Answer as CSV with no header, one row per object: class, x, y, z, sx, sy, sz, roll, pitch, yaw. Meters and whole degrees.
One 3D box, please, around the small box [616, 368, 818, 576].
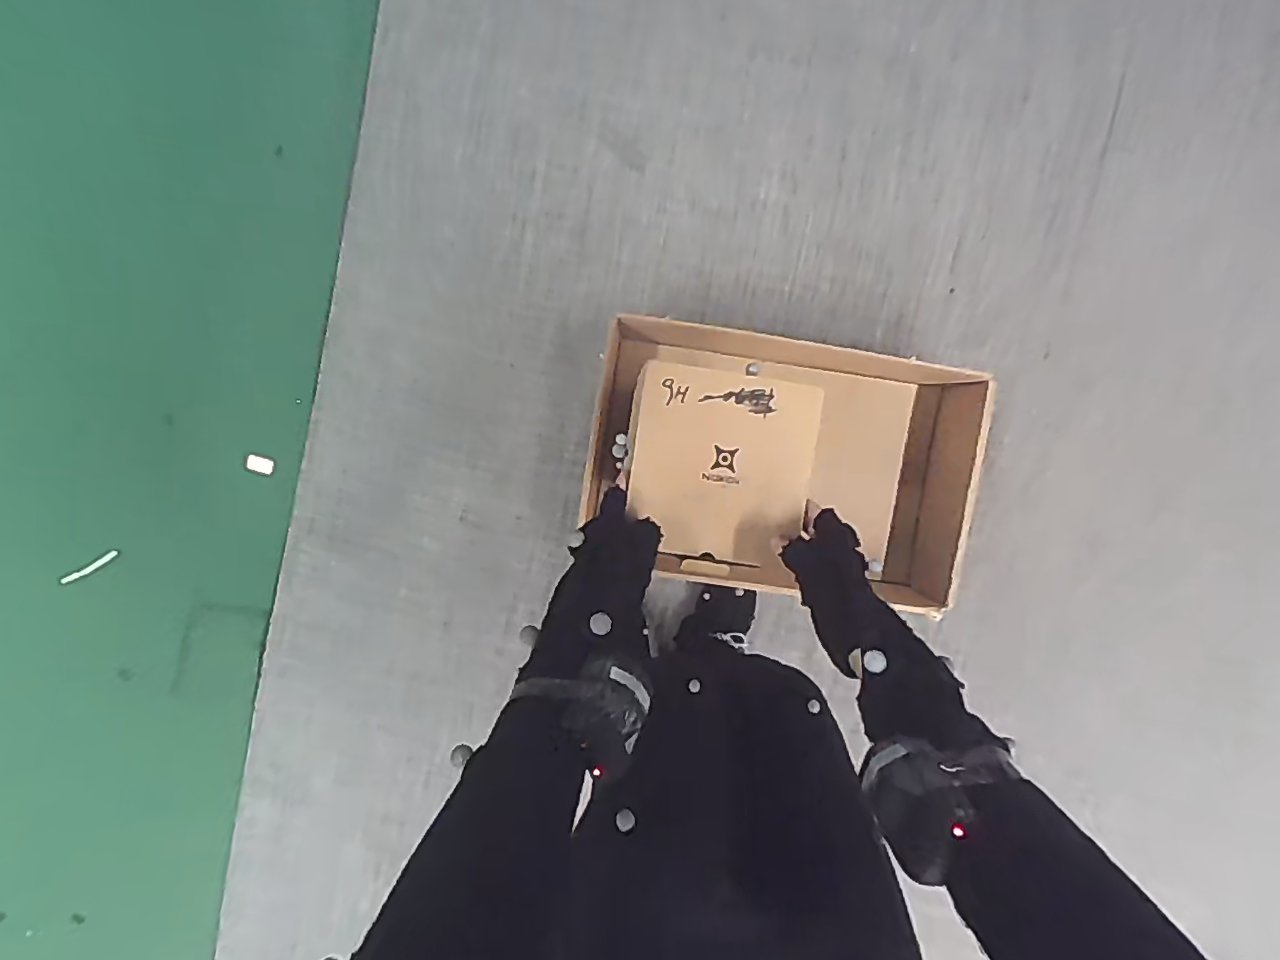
small box,0.070,-0.013,0.581,0.168,0.176,0.179,8,95,-3
